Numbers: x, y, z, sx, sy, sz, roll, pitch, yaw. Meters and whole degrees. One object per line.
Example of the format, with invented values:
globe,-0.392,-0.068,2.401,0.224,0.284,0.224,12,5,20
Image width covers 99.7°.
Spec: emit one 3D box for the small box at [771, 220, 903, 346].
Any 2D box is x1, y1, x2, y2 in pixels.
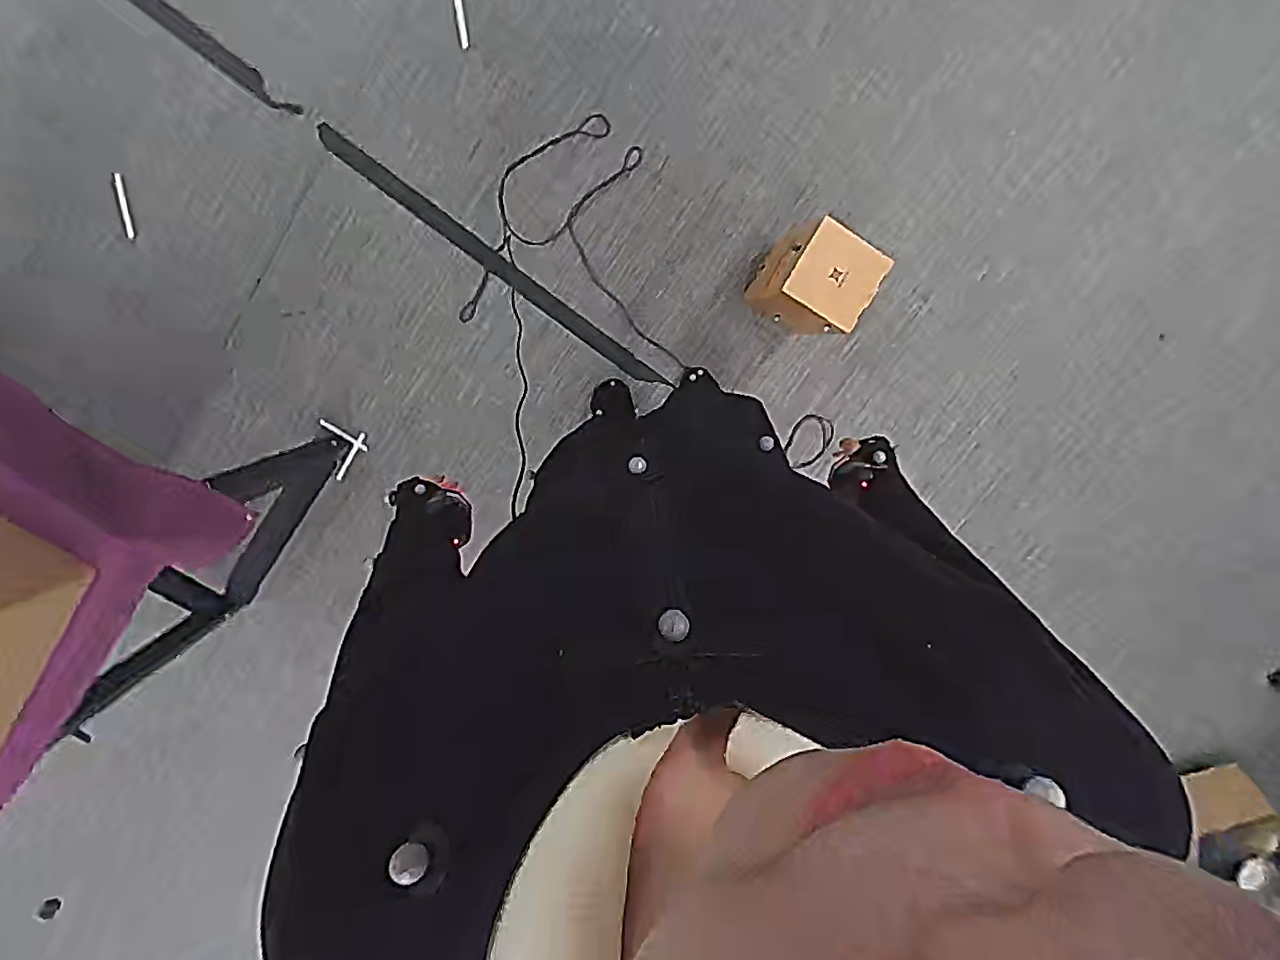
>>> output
small box,0.414,-0.406,1.137,0.168,0.176,0.179,24,84,-27
